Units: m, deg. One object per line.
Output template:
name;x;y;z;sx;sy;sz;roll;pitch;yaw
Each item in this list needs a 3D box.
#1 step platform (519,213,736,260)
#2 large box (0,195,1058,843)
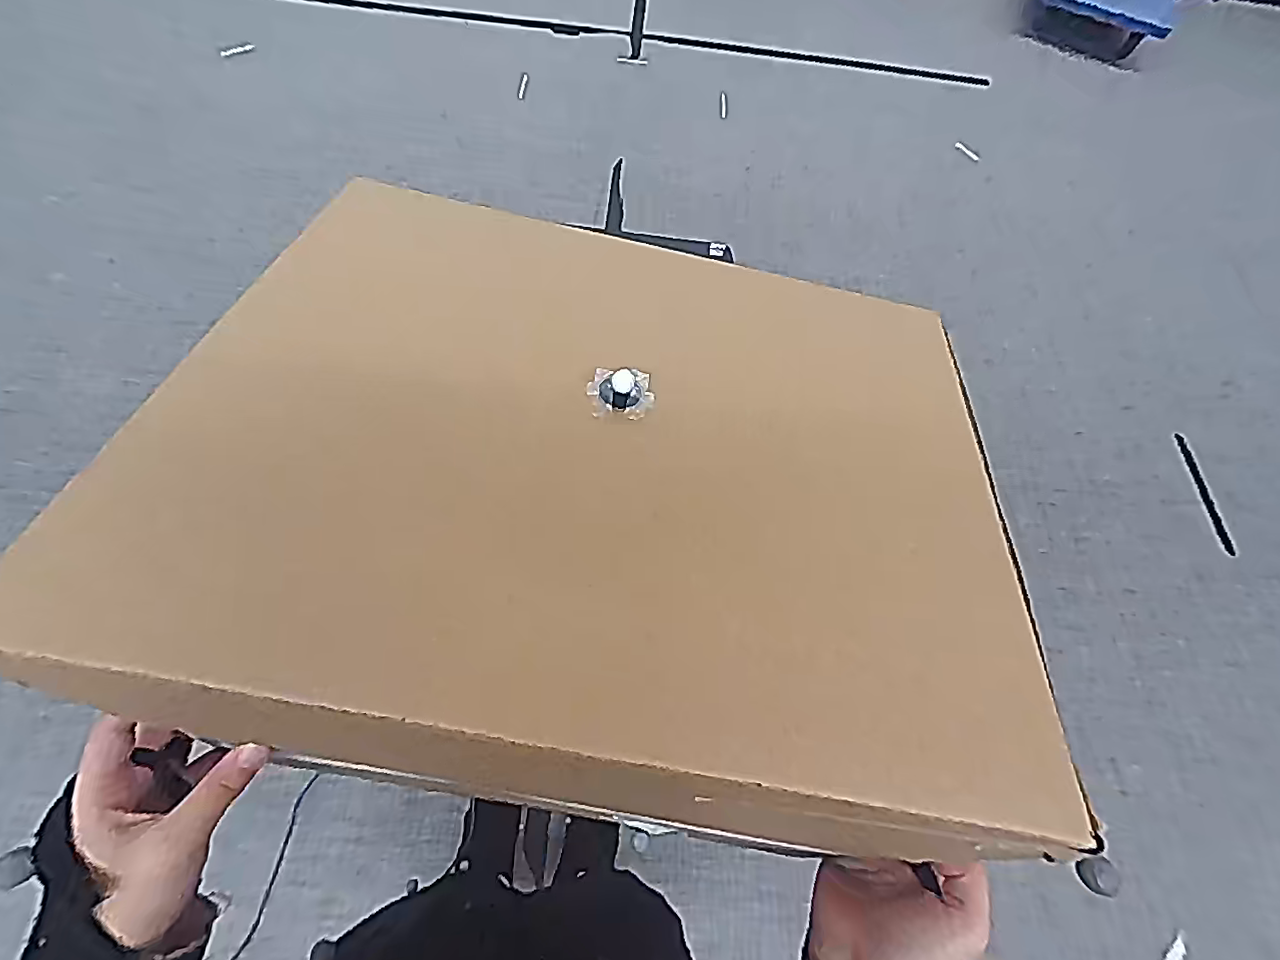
step platform;-0.057;-0.570;1.606;0.684;0.204;0.286;11;65;-1
large box;-0.046;0.046;0.394;0.408;0.320;0.320;10;56;-2
